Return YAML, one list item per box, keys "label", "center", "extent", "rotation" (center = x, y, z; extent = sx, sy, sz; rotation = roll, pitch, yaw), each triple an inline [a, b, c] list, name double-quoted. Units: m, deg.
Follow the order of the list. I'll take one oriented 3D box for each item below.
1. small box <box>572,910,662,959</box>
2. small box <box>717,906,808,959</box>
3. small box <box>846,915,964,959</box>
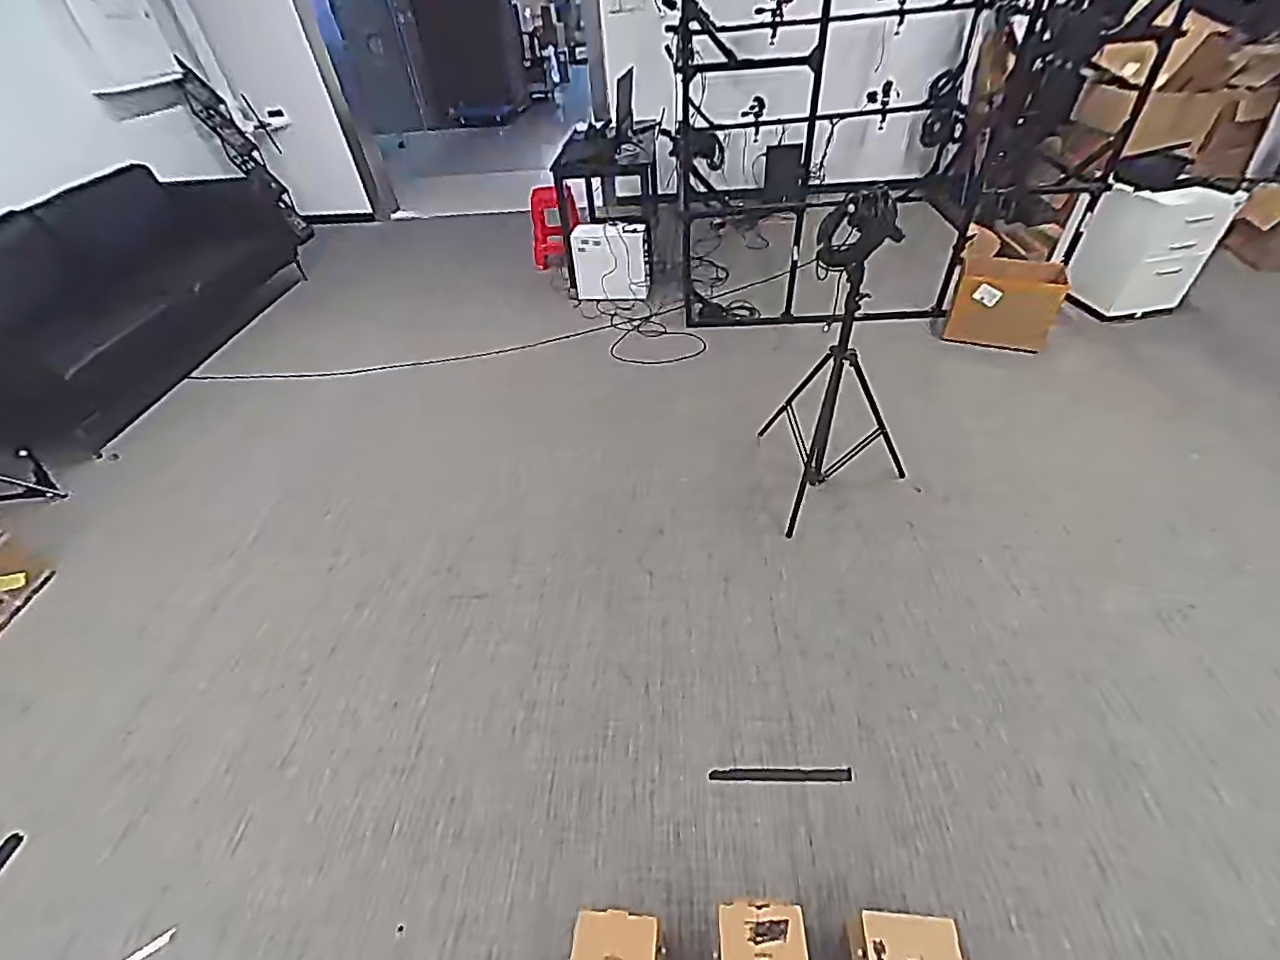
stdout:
- label: "small box"
  center: [-0.046, 0.990, 1.078]
  extent: [0.168, 0.176, 0.179]
  rotation: [0, 44, 8]
- label: "small box"
  center: [0.240, 0.969, 1.065]
  extent: [0.168, 0.176, 0.179]
  rotation: [-2, 44, 5]
- label: "small box"
  center: [0.516, 0.965, 1.043]
  extent: [0.179, 0.176, 0.168]
  rotation: [2, 43, 6]
